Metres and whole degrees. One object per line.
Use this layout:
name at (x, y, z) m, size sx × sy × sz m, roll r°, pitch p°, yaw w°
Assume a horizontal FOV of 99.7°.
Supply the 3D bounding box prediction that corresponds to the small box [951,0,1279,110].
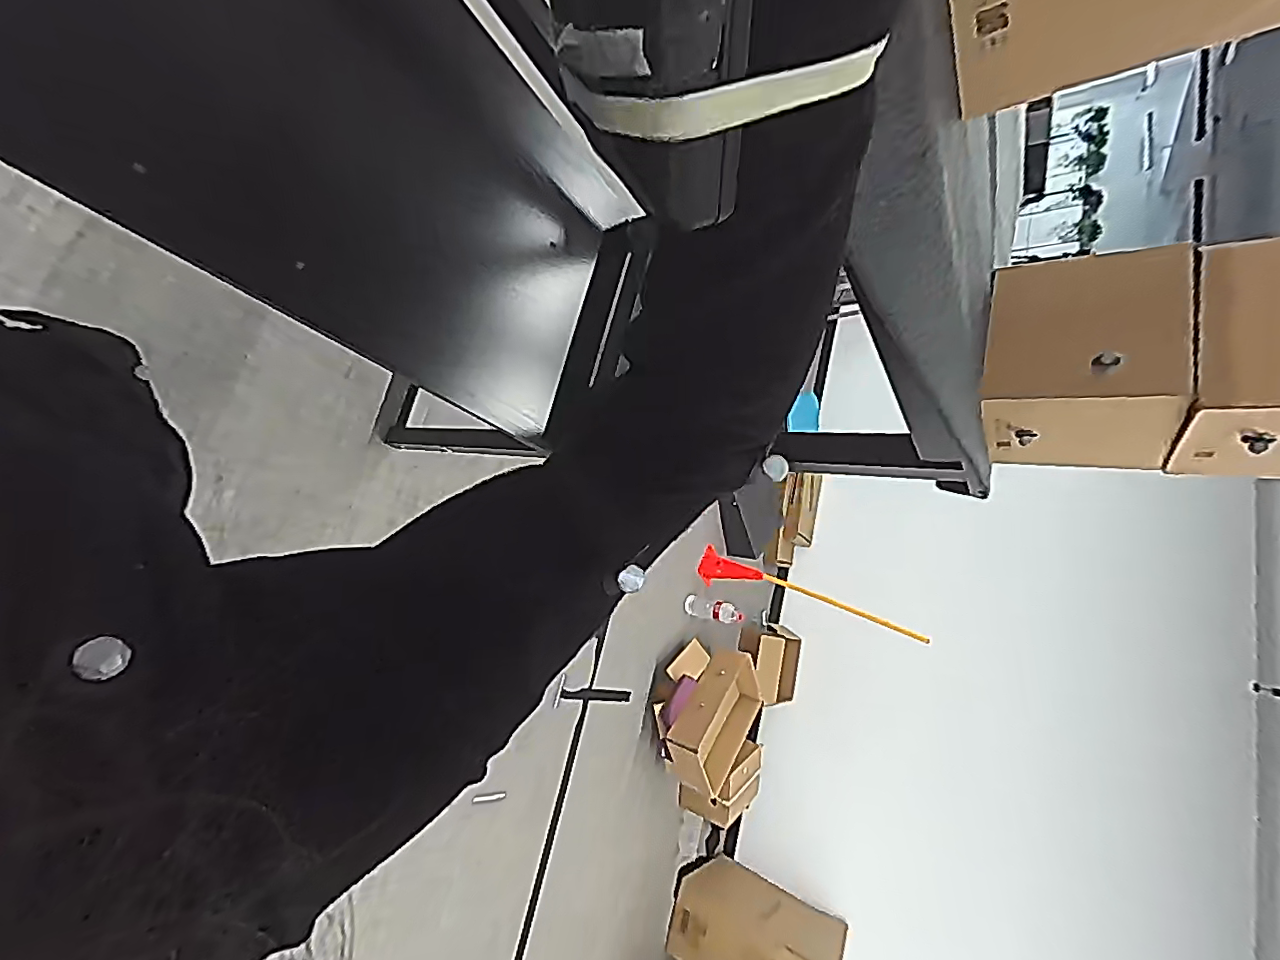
small box at (0.253, -0.336, 0.267) m, size 0.168 × 0.176 × 0.179 m, roll 30°, pitch 68°, yaw -51°

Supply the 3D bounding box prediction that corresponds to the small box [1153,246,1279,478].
small box at (0.620, -0.110, 0.515) m, size 0.168 × 0.176 × 0.179 m, roll 32°, pitch 69°, yaw -50°
